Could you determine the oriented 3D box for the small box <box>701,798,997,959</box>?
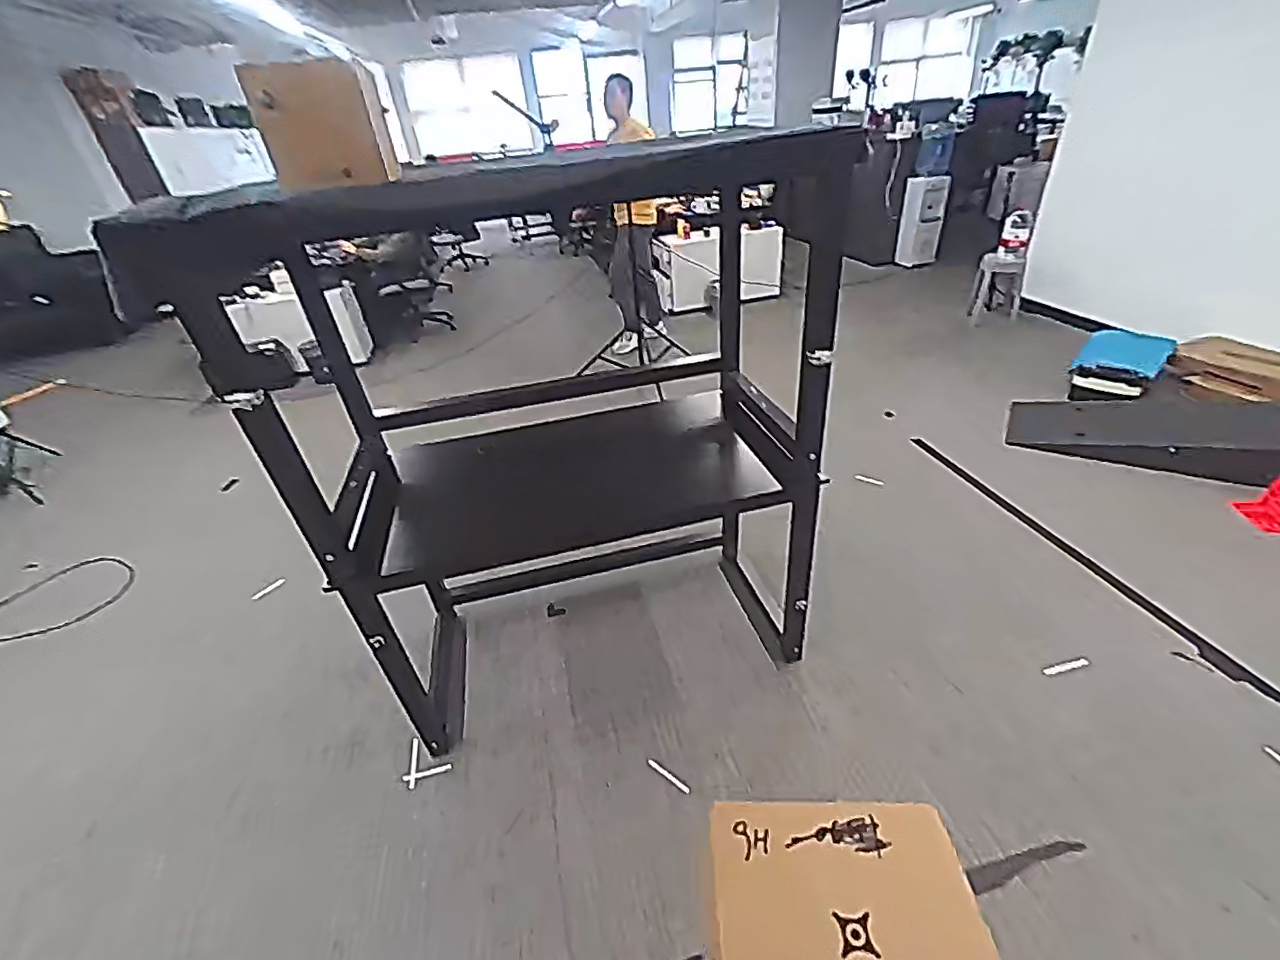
[{"bbox_3d":[0.132,0.352,0.371,0.168,0.176,0.179,1,33,1],"label":"small box"}]
